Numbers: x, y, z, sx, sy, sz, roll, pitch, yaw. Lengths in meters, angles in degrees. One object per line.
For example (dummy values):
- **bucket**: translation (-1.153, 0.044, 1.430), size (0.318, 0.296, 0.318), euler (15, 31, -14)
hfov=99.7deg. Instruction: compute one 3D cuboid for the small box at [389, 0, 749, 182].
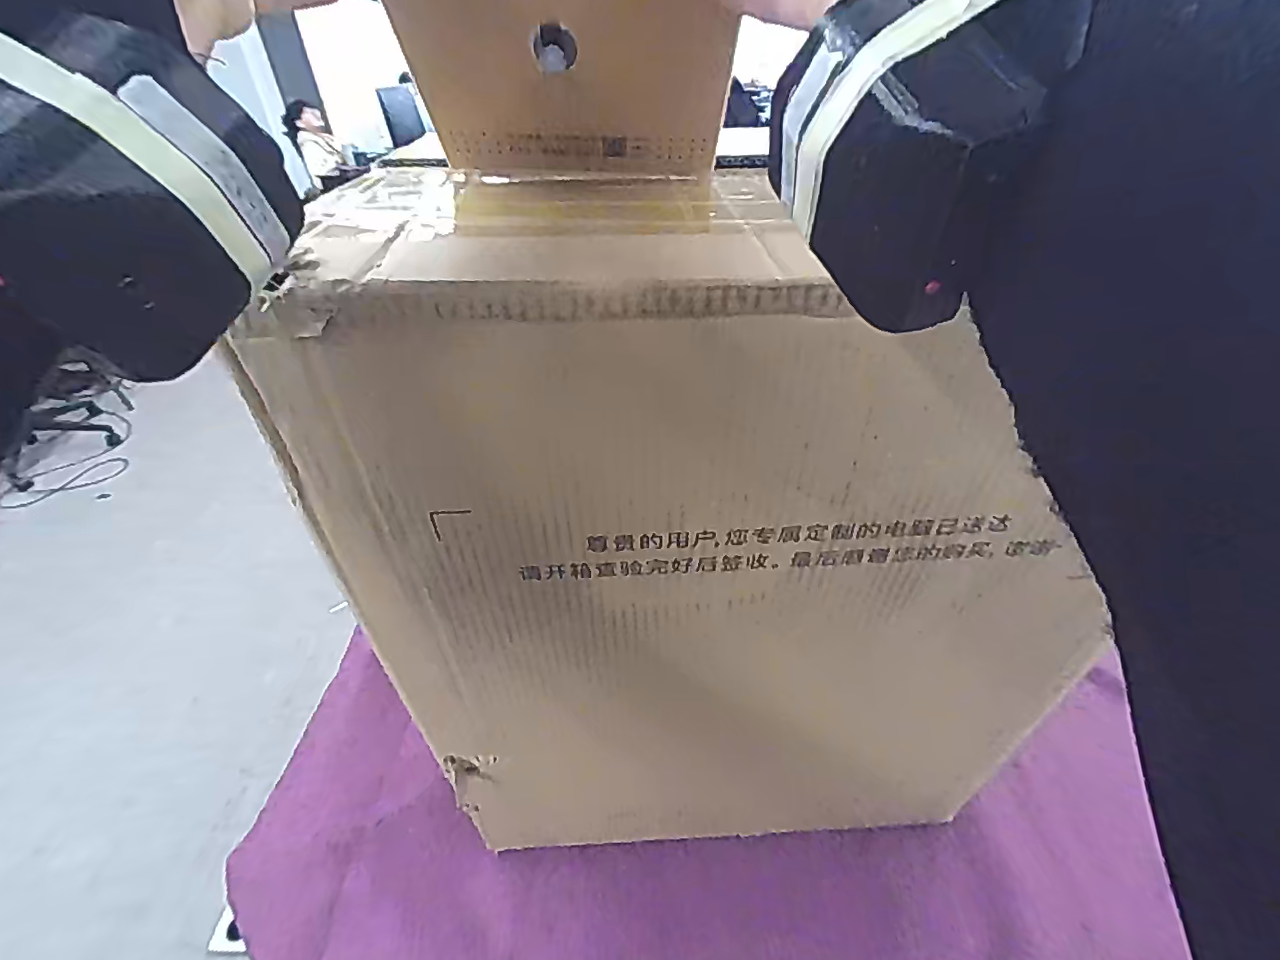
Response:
- **small box**: translation (-0.029, -0.285, 0.278), size (0.168, 0.176, 0.179), euler (2, 78, -1)
